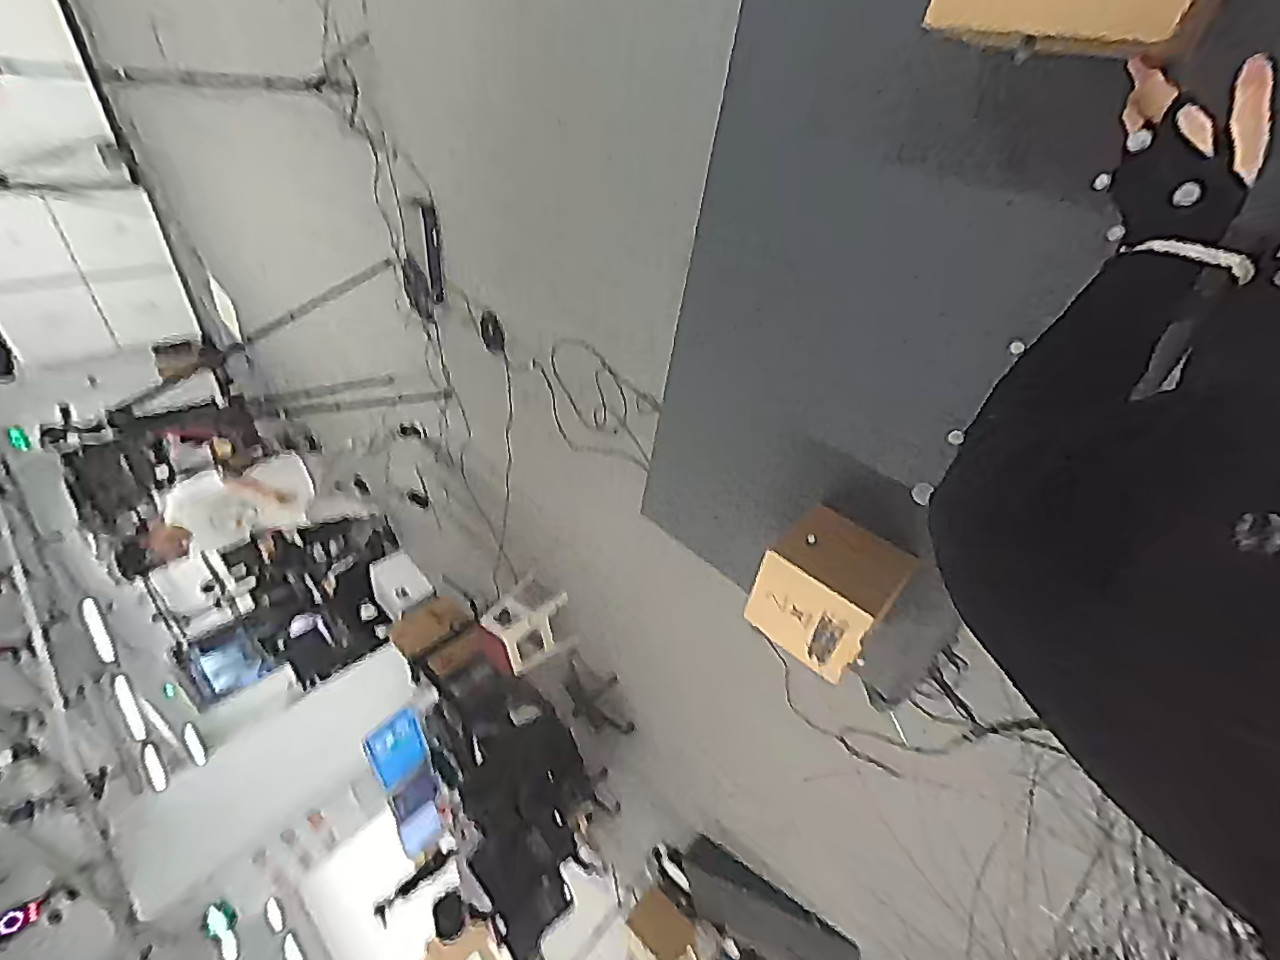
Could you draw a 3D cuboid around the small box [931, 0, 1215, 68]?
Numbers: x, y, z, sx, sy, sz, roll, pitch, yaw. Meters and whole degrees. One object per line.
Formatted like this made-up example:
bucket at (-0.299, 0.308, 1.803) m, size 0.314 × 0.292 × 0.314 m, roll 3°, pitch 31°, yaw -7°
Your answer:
small box at (0.378, -0.444, 0.430) m, size 0.179 × 0.176 × 0.168 m, roll 35°, pitch 137°, yaw 26°
